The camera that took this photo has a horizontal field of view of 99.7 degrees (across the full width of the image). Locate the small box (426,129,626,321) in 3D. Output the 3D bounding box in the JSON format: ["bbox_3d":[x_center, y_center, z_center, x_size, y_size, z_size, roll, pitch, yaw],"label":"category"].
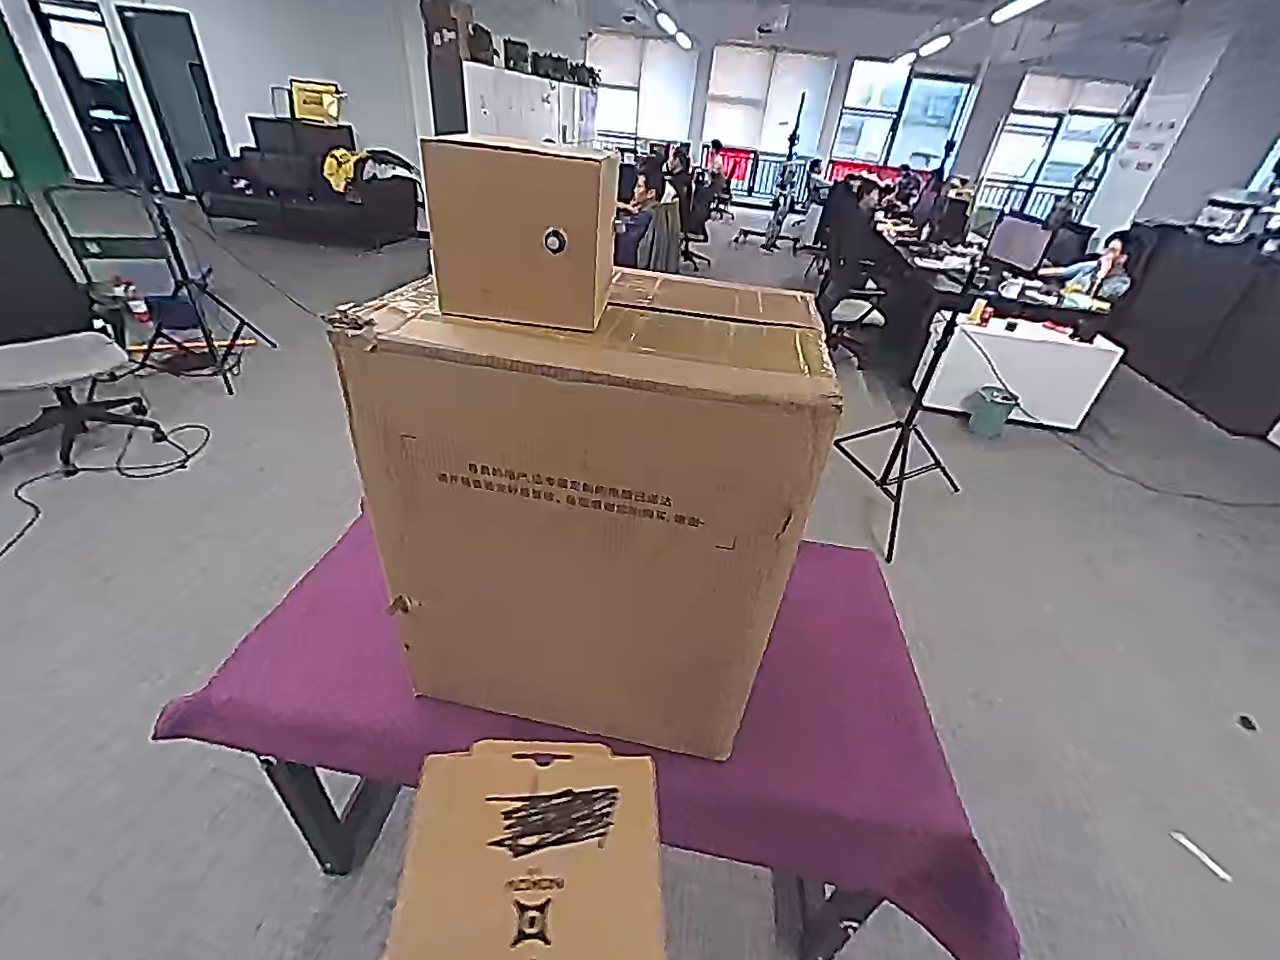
[{"bbox_3d":[-0.115,-0.288,0.611,0.179,0.176,0.168,6,33,1],"label":"small box"}]

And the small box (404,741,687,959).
[{"bbox_3d":[-0.071,0.309,0.387,0.168,0.176,0.179,7,45,-11],"label":"small box"}]
